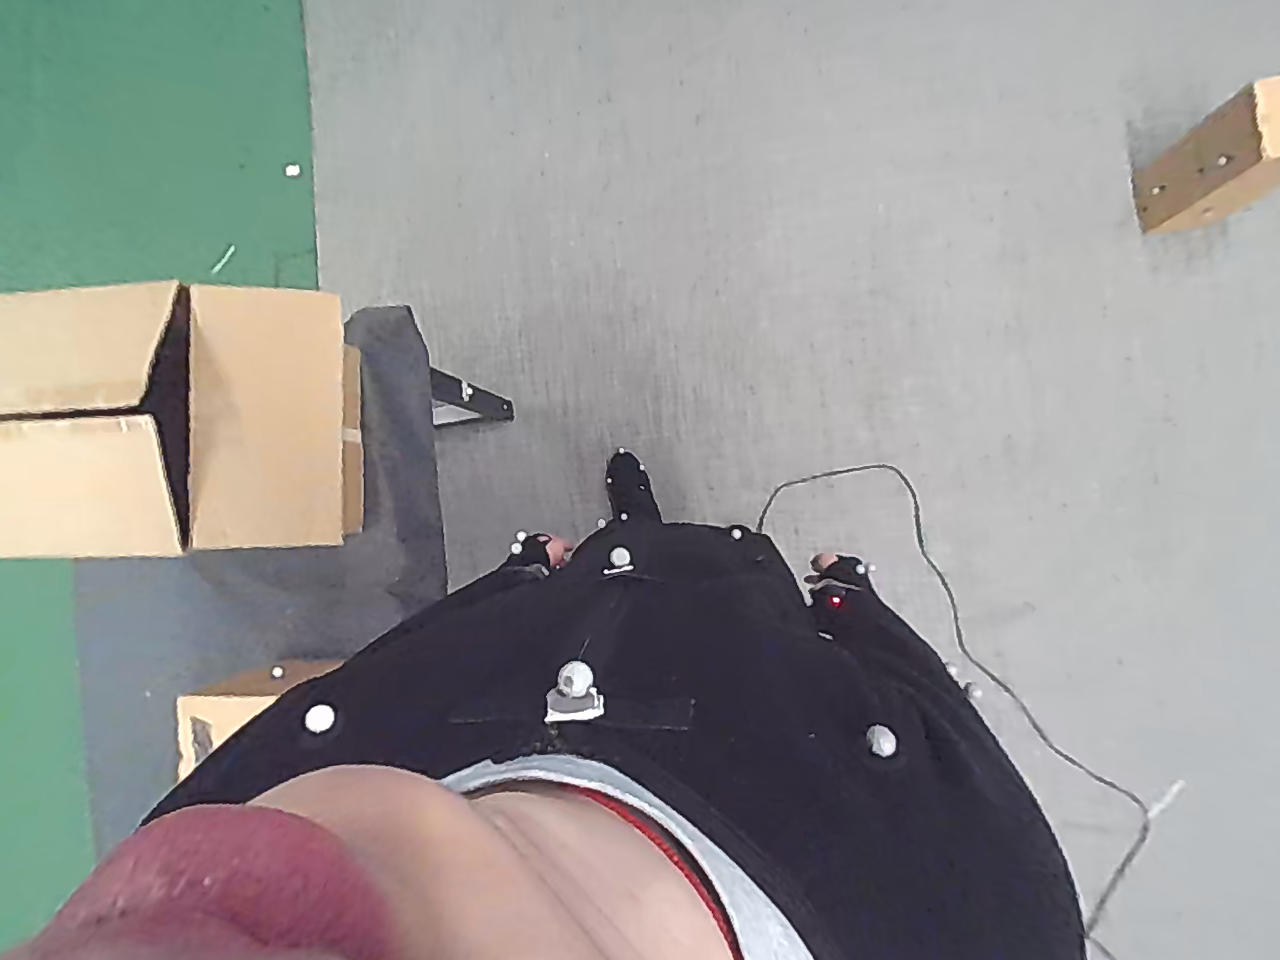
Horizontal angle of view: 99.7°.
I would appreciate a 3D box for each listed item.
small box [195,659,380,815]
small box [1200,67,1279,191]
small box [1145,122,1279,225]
[{"bbox_3d":[-0.536,0.386,0.839,0.179,0.176,0.168,-3,90,8],"label":"small box"},{"bbox_3d":[1.326,-0.733,1.123,0.179,0.176,0.168,-8,90,8],"label":"small box"},{"bbox_3d":[1.354,-0.734,1.284,0.179,0.176,0.168,-8,89,9],"label":"small box"}]
